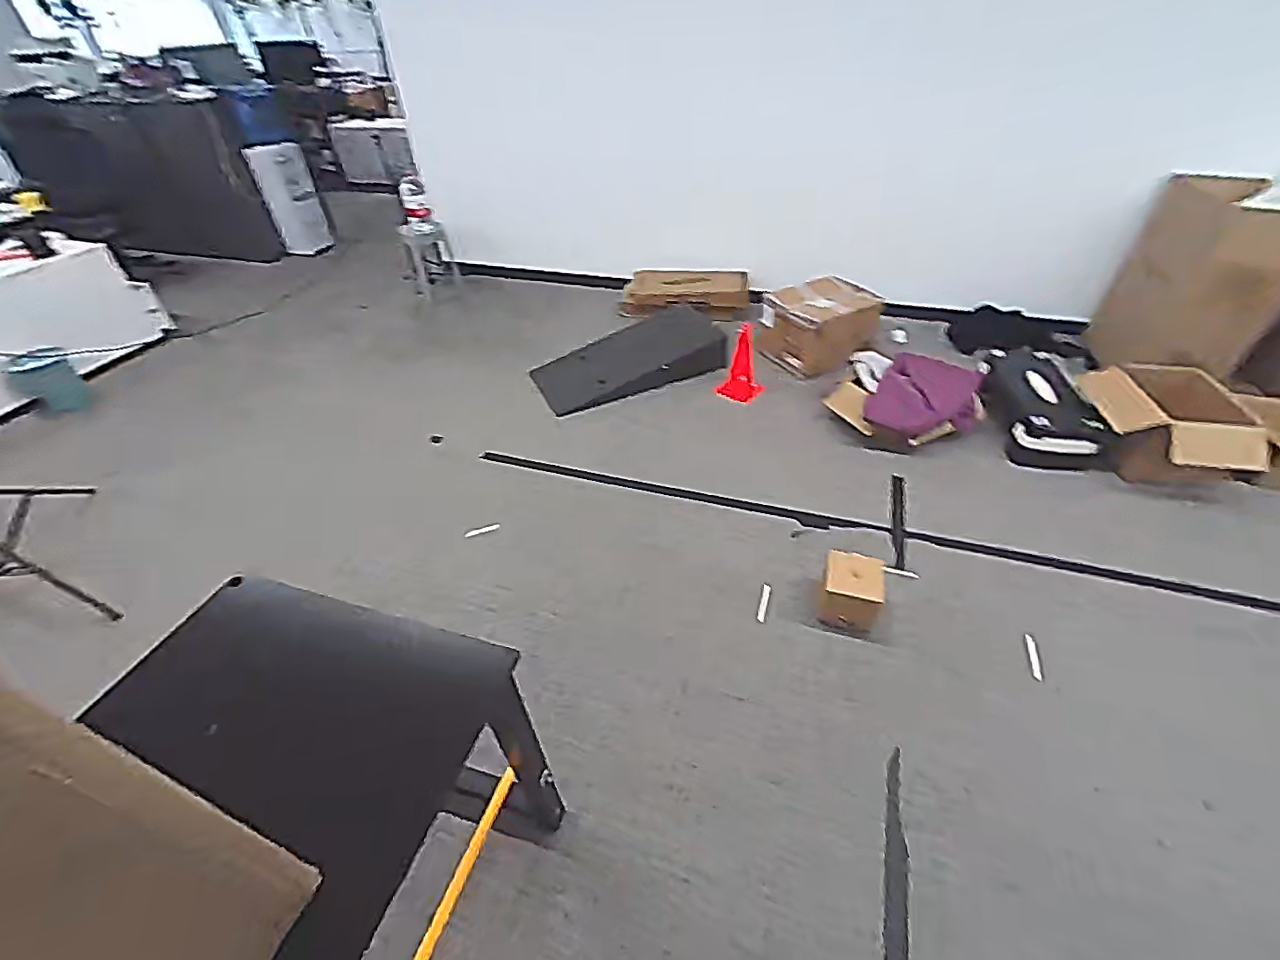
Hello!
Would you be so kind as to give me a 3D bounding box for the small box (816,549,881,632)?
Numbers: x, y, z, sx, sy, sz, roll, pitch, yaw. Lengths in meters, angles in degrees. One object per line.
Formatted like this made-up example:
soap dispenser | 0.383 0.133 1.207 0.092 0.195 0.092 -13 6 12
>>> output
small box | 0.663 0.353 1.729 0.168 0.176 0.179 9 44 15
